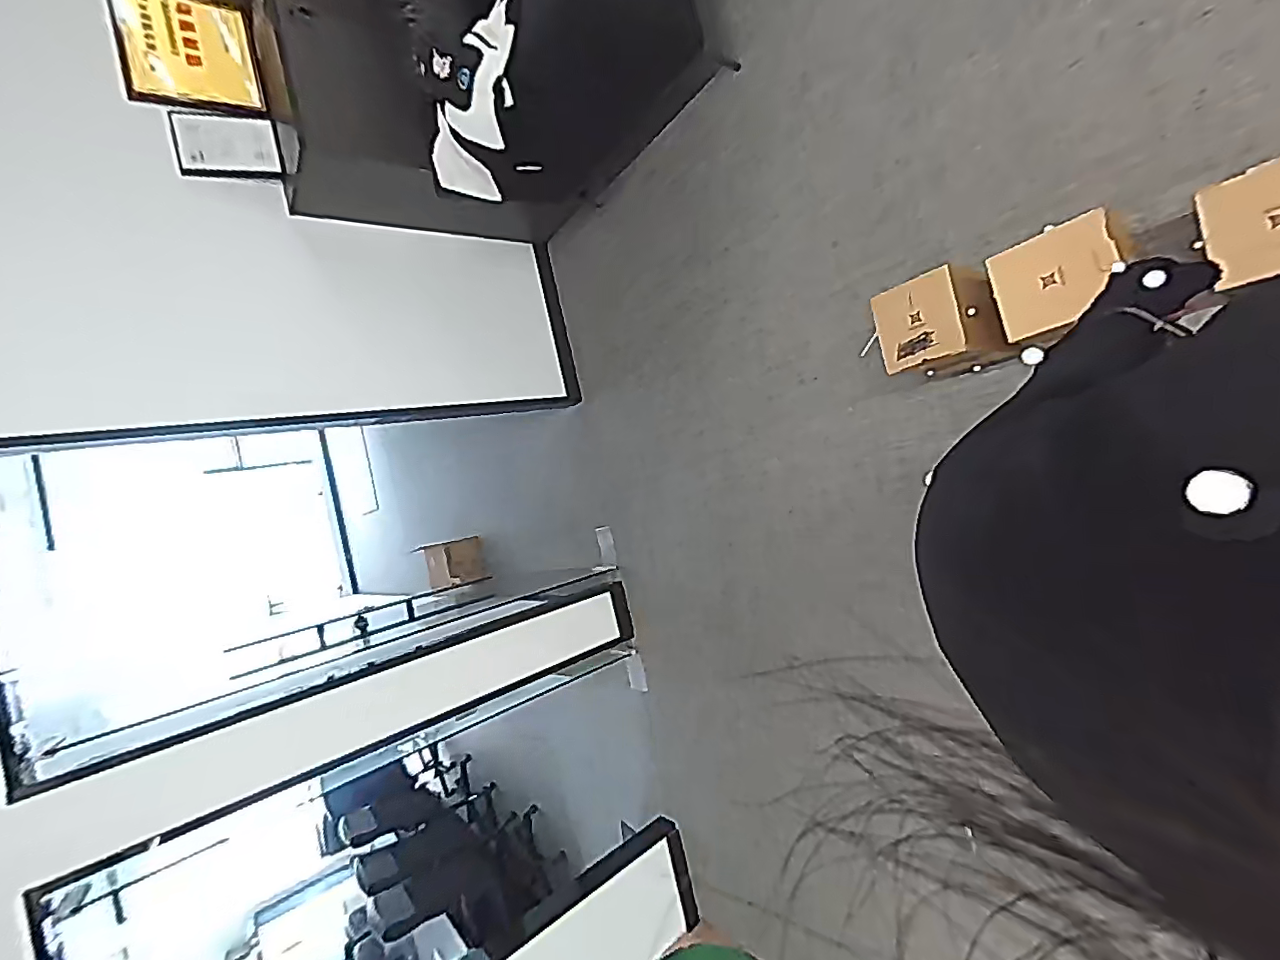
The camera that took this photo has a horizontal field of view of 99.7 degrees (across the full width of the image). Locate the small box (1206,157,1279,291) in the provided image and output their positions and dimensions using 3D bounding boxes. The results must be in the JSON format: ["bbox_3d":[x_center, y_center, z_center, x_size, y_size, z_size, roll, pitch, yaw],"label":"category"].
[{"bbox_3d":[1.064,-0.426,0.883,0.168,0.176,0.179,-13,90,52],"label":"small box"}]

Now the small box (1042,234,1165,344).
[{"bbox_3d":[0.910,-0.383,1.084,0.168,0.176,0.179,-17,85,53],"label":"small box"}]

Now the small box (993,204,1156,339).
[{"bbox_3d":[0.787,-0.363,0.981,0.179,0.176,0.168,-19,85,51],"label":"small box"}]
